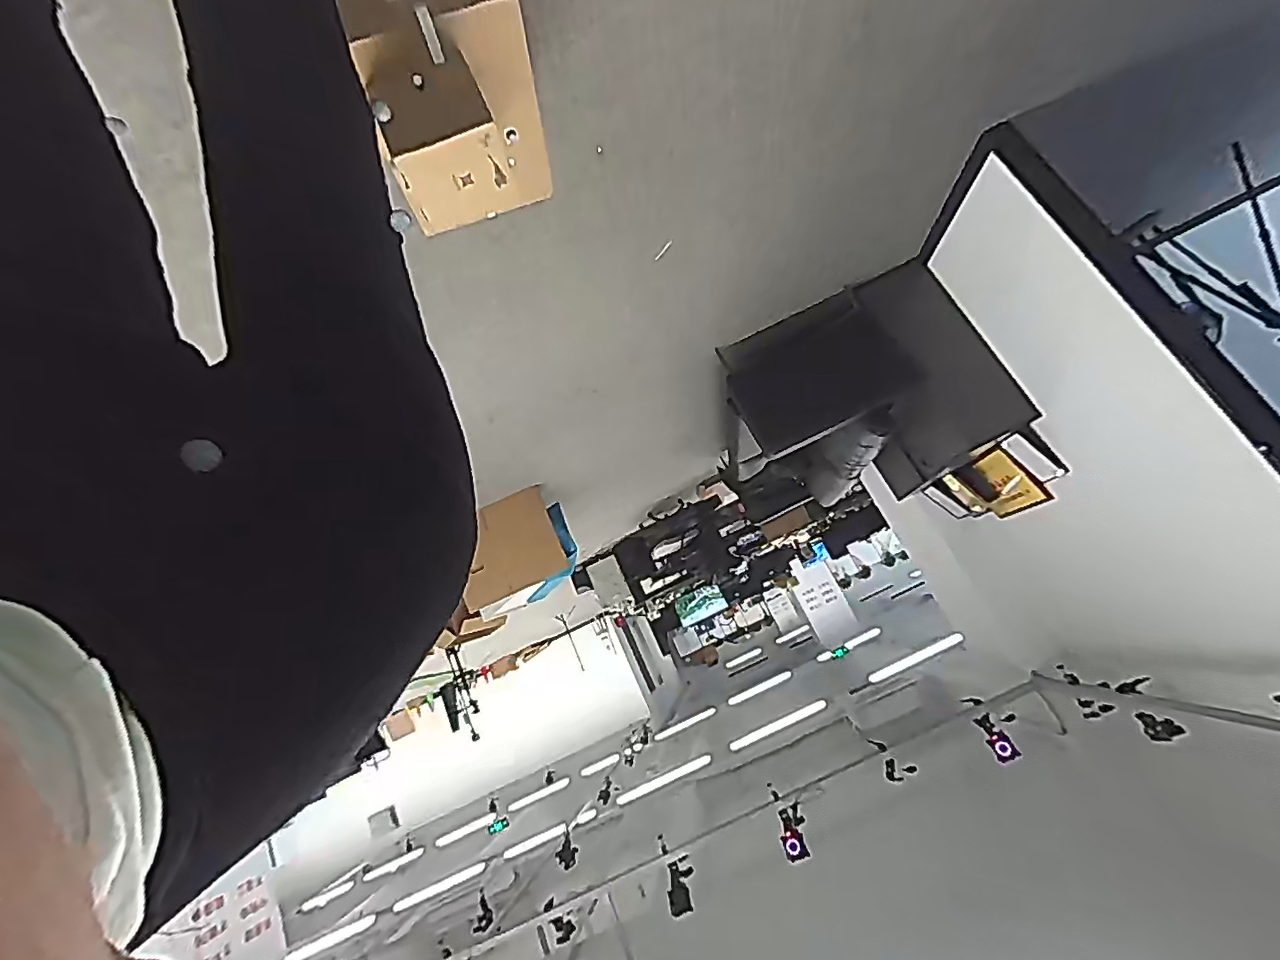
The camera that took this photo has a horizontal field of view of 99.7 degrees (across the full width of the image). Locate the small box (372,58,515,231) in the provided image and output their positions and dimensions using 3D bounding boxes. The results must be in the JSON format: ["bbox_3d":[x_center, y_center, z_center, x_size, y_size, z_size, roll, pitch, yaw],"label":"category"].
[{"bbox_3d":[-0.347,-0.588,0.954,0.179,0.176,0.168,-23,164,-5],"label":"small box"}]
